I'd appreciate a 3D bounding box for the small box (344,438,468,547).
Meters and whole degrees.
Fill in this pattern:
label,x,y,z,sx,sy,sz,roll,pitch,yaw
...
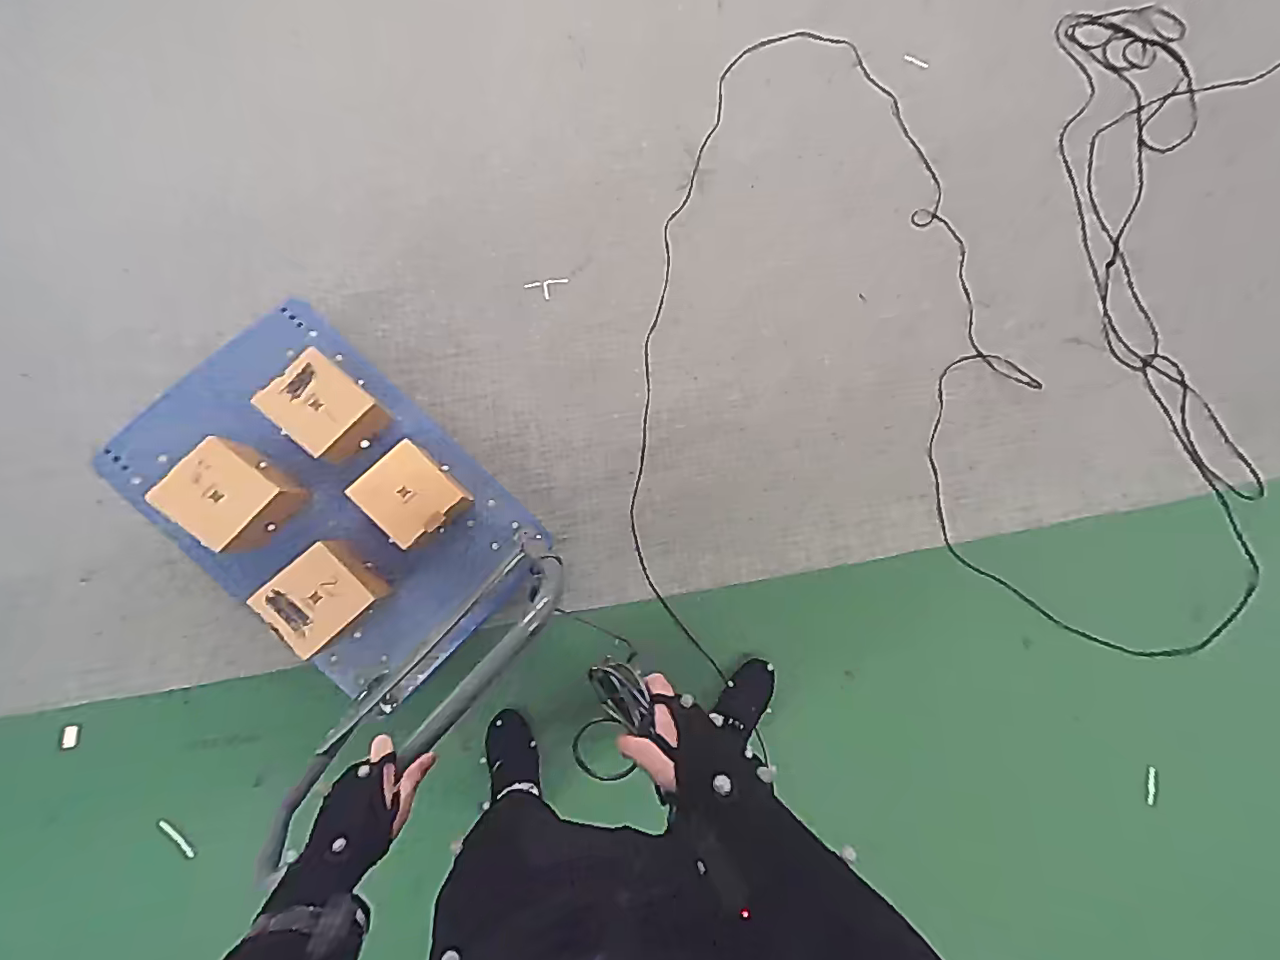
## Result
label,x,y,z,sx,sy,sz,roll,pitch,yaw
small box,-0.508,0.034,1.205,0.179,0.176,0.168,45,79,-5

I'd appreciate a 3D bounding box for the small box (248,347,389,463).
label,x,y,z,sx,sy,sz,roll,pitch,yaw
small box,-0.690,-0.154,1.185,0.179,0.176,0.168,42,79,-5

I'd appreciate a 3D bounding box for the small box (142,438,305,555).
label,x,y,z,sx,sy,sz,roll,pitch,yaw
small box,-0.855,0.037,1.136,0.179,0.176,0.168,40,78,-5
